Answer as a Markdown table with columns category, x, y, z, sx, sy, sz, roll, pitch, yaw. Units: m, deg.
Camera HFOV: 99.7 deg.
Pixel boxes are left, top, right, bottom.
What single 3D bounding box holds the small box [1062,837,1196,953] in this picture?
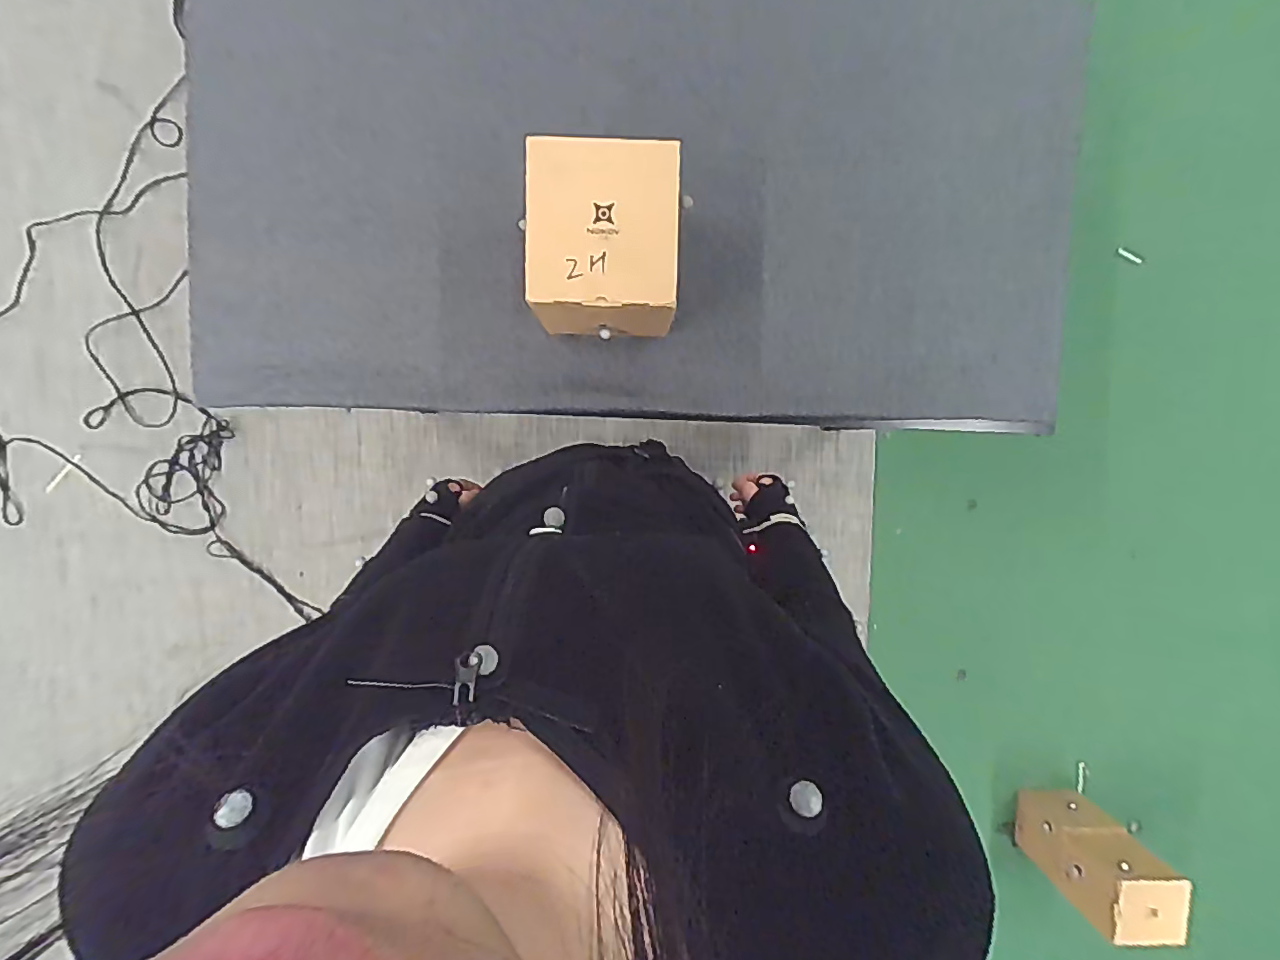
| category | x | y | z | sx | sy | sz | roll | pitch | yaw |
| --- | --- | --- | --- | --- | --- | --- | --- | --- | --- |
| small box | 1.204 | 1.021 | 1.342 | 0.179 | 0.176 | 0.168 | 1 | 94 | -2 |

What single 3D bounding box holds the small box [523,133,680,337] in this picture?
| category | x | y | z | sx | sy | sz | roll | pitch | yaw |
| --- | --- | --- | --- | --- | --- | --- | --- | --- | --- |
| small box | -0.044 | -0.281 | 0.654 | 0.168 | 0.176 | 0.179 | 1 | 93 | -1 |
